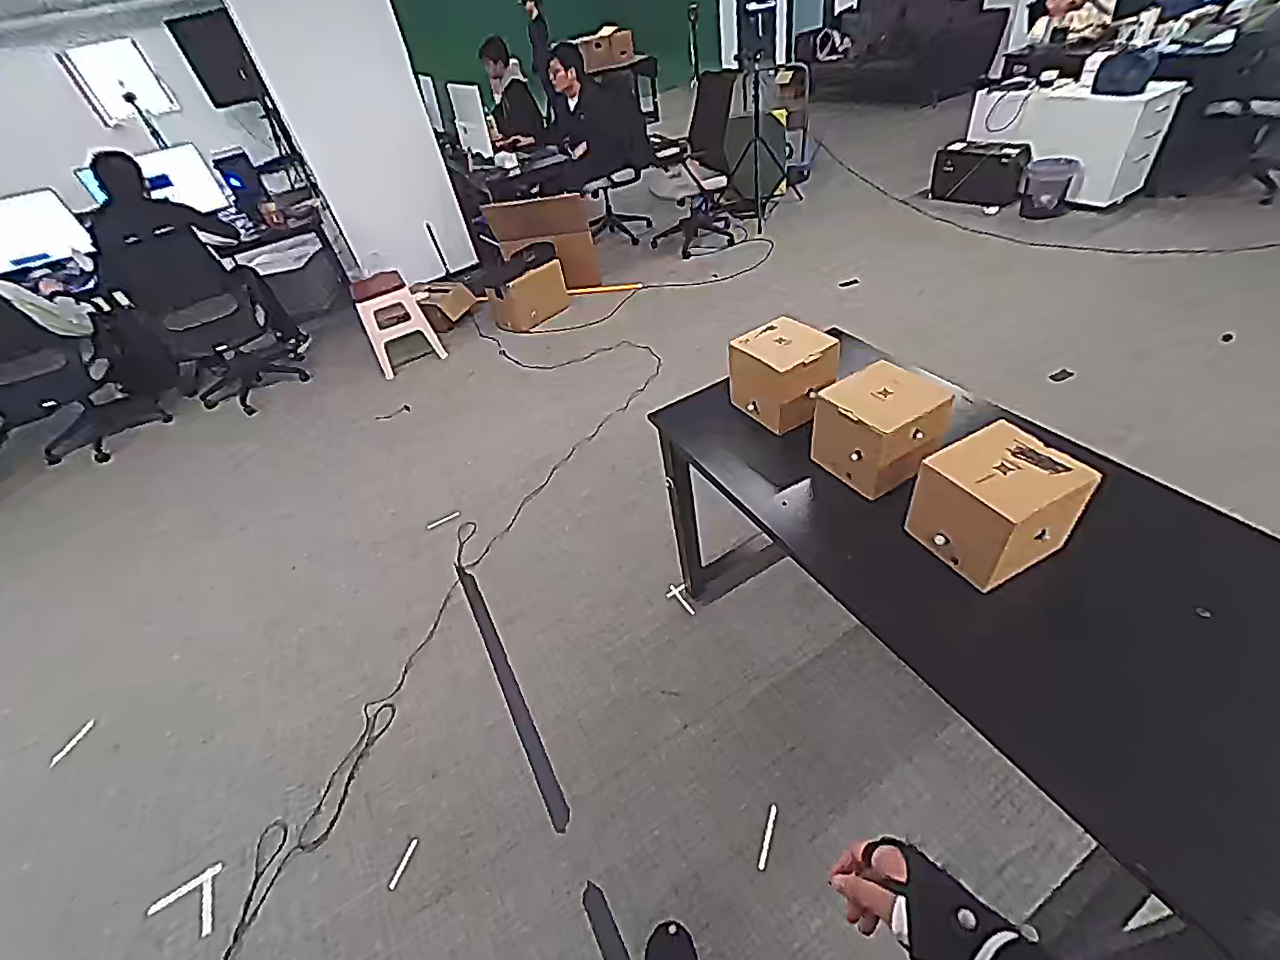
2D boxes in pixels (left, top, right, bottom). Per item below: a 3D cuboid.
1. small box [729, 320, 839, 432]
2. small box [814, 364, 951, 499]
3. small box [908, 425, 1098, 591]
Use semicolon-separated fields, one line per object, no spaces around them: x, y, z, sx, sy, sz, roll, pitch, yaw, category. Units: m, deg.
0.321;-0.231;1.227;0.168;0.176;0.179;-28;46;-18;small box
0.458;-0.093;1.051;0.179;0.176;0.168;-26;45;-17;small box
0.569;0.045;0.875;0.179;0.176;0.168;-24;44;-13;small box
